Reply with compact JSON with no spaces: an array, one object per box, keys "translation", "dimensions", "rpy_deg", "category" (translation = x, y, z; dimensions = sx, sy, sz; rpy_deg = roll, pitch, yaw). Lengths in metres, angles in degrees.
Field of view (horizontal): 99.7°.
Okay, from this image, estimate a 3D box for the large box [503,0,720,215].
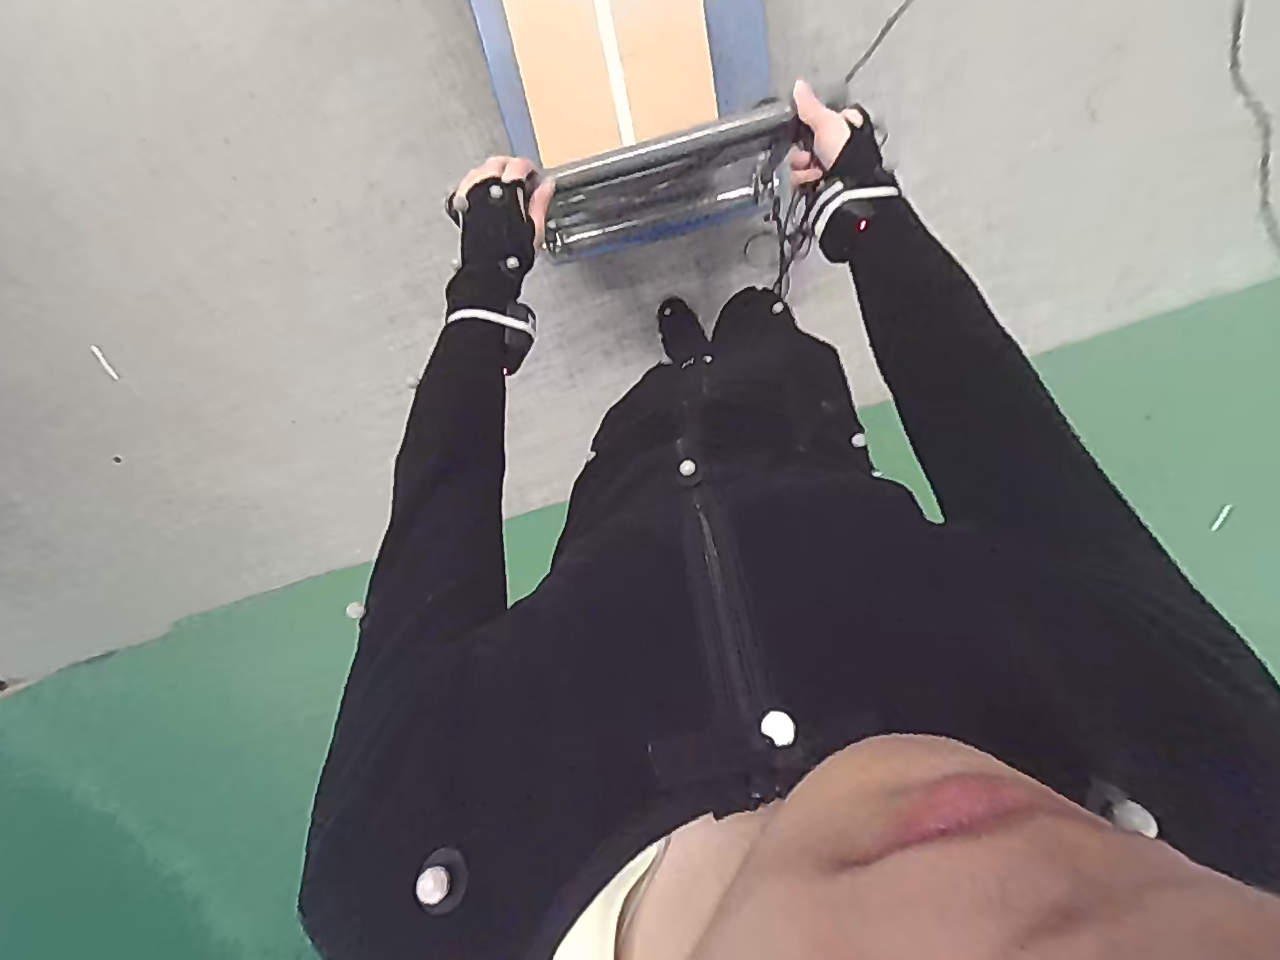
[{"translation":[-0.039,-0.768,1.029],"dimensions":[0.320,0.320,0.408],"rpy_deg":[-10,110,8],"category":"large box"}]
